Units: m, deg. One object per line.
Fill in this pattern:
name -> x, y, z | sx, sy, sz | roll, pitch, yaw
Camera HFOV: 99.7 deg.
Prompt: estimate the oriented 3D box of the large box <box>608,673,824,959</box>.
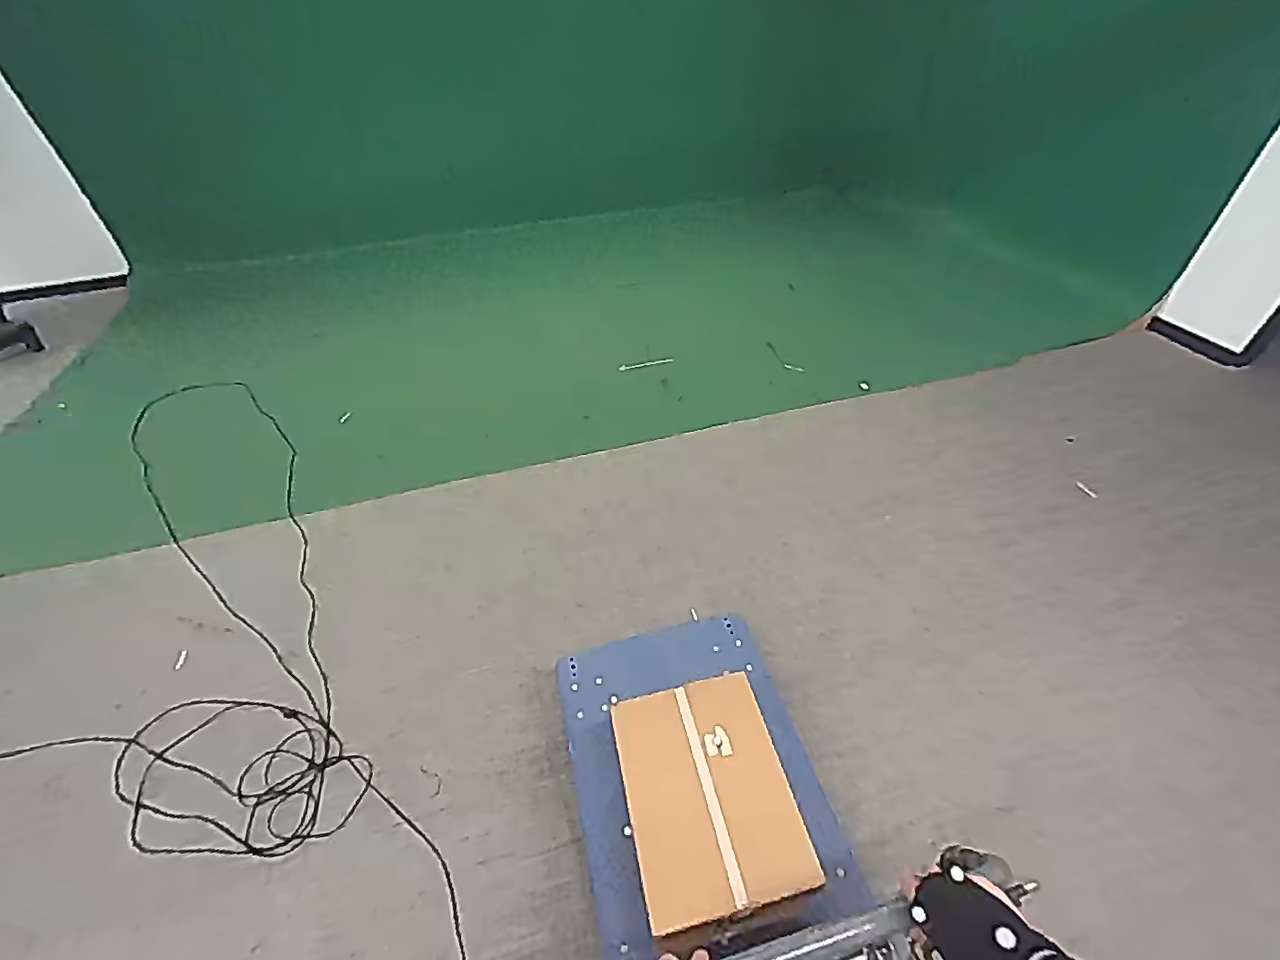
large box -> 0.133, 0.698, 1.145 | 0.320, 0.320, 0.408 | -10, 43, -8
